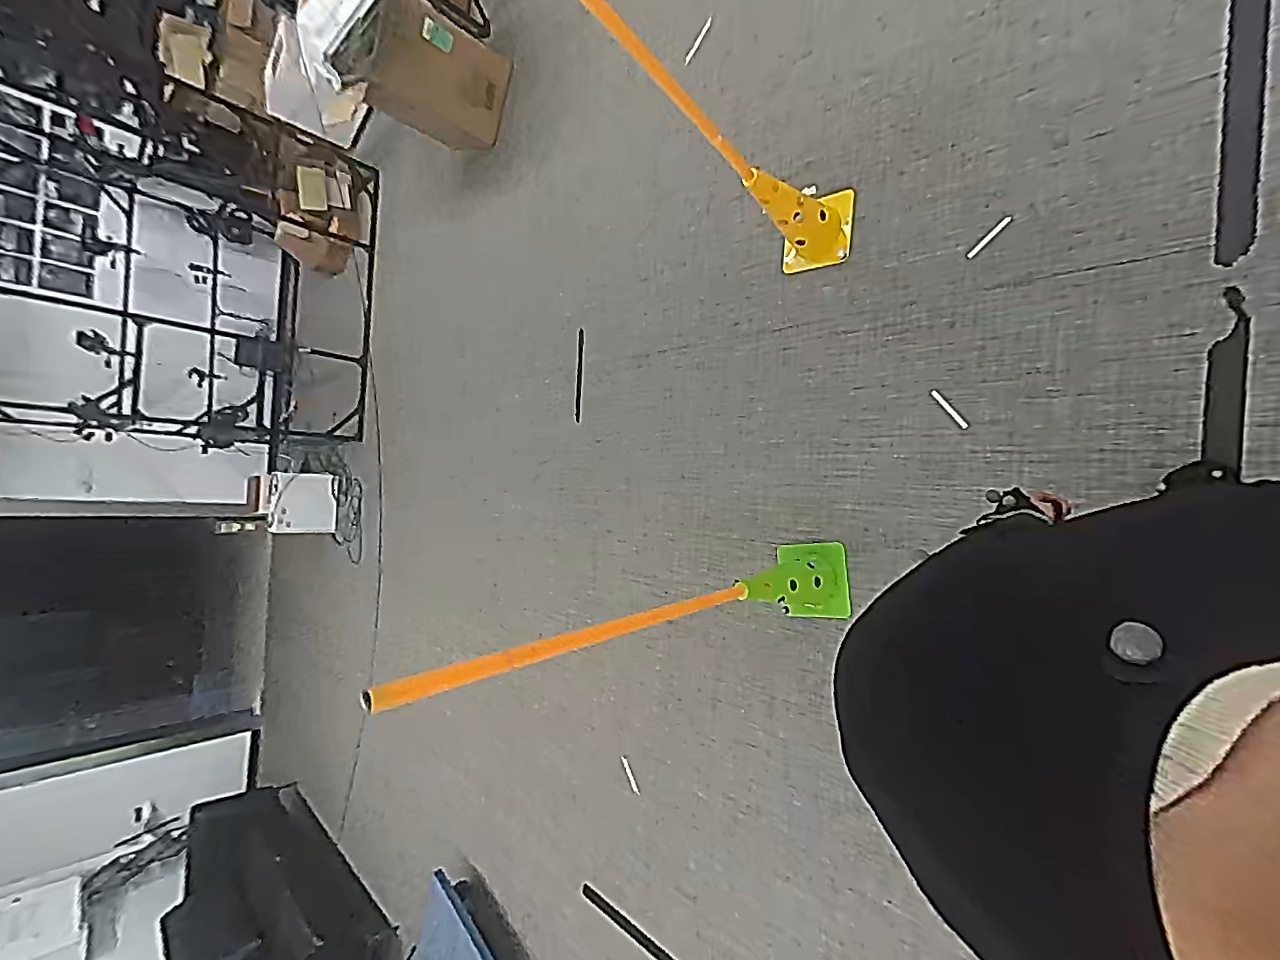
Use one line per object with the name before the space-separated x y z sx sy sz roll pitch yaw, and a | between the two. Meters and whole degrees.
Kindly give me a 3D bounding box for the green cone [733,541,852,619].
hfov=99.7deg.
green cone | 0.354 0.258 1.351 0.200 0.368 0.202 -12 77 43
